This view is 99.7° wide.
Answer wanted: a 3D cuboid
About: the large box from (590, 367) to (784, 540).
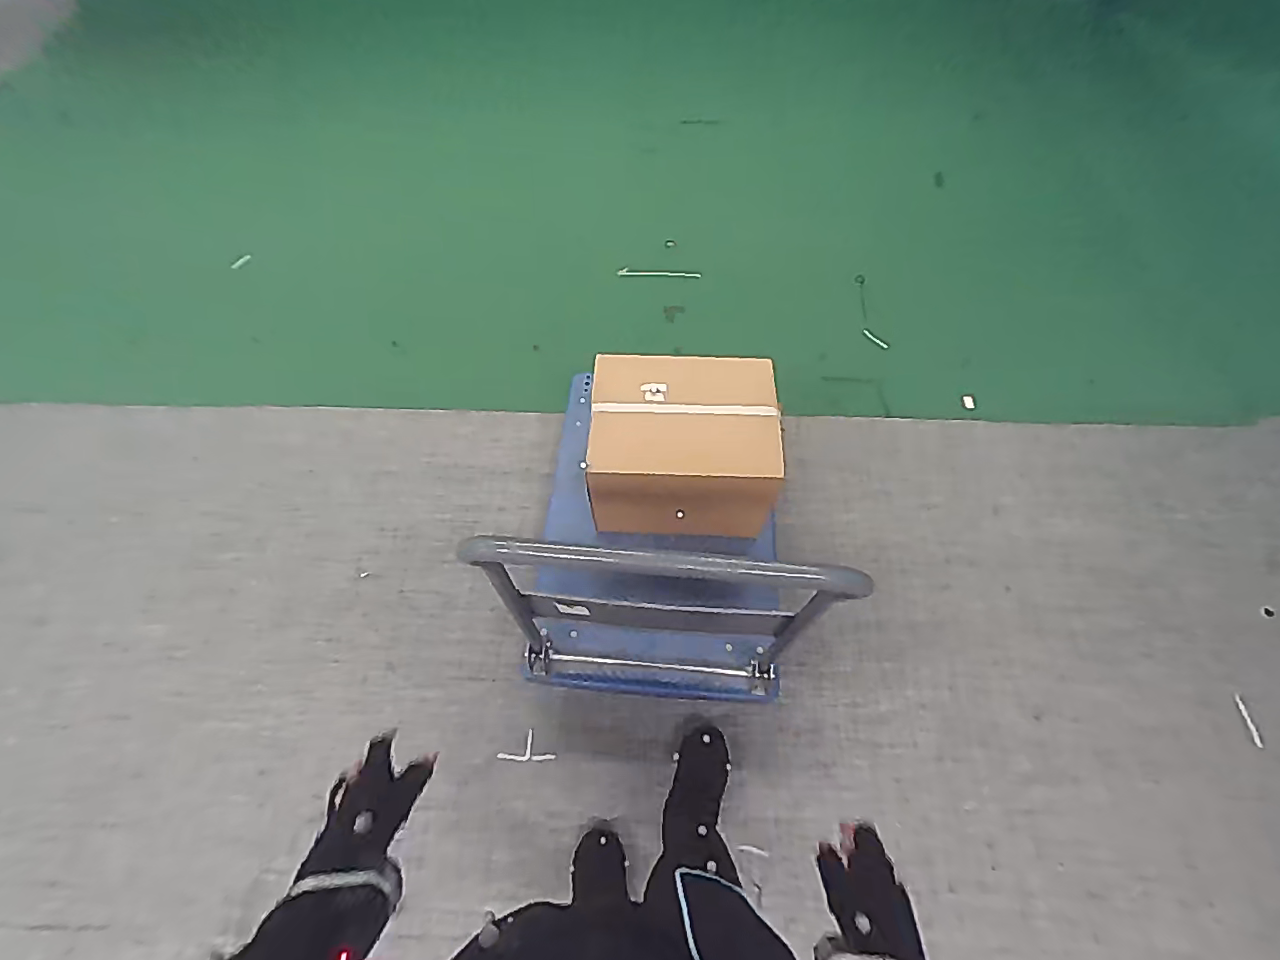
[{"bbox_3d":[0.102,-0.055,1.302,0.408,0.320,0.320,1,60,1],"label":"large box"}]
